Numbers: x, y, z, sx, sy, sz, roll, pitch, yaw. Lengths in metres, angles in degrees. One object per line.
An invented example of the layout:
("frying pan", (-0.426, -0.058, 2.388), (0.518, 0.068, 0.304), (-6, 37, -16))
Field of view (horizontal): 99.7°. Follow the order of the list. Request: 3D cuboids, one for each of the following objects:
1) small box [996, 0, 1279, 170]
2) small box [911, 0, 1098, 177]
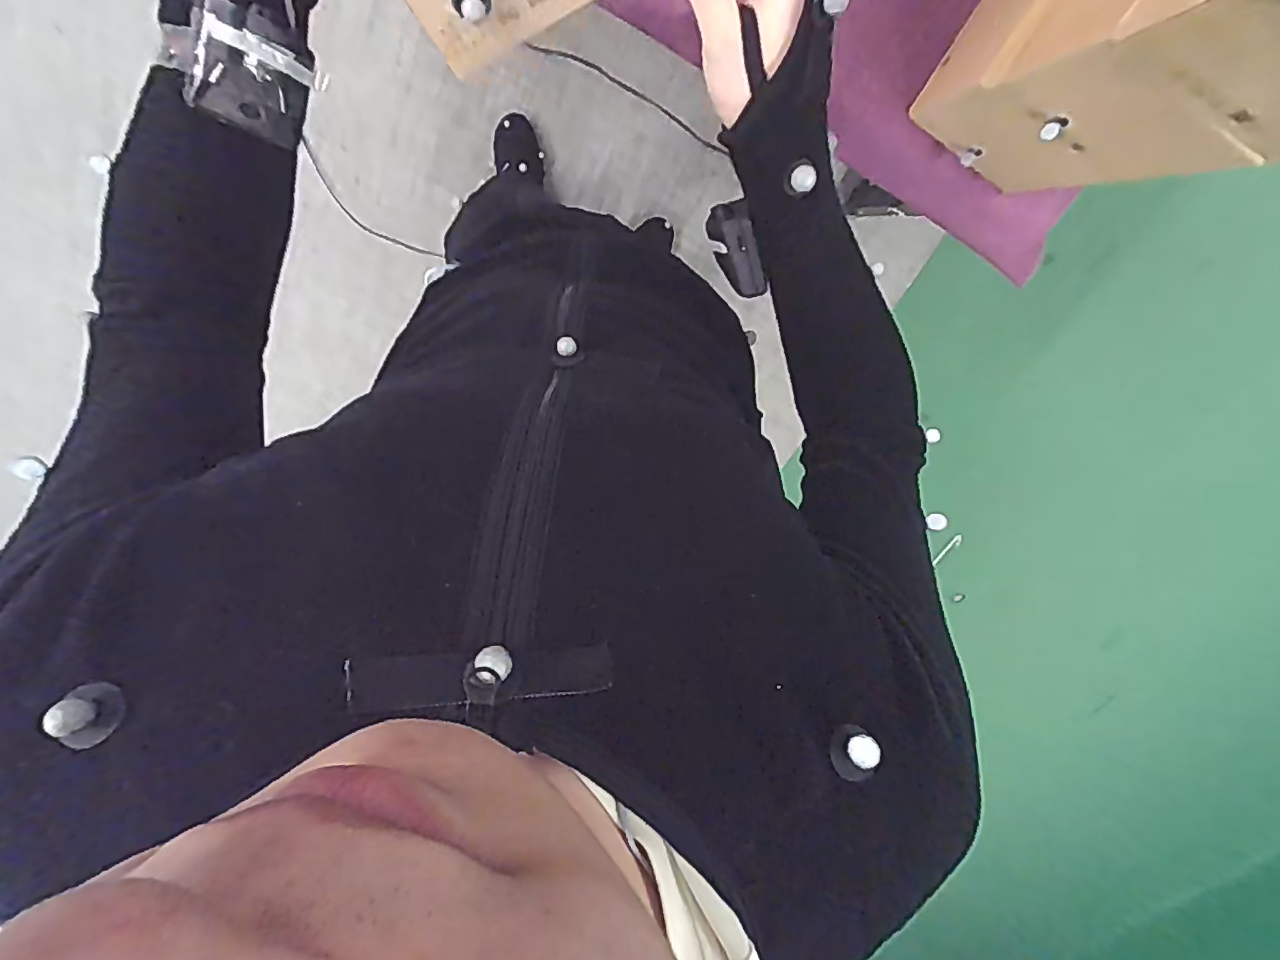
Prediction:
("small box", (0.448, -0.387, 0.441), (0.168, 0.176, 0.179), (28, 113, -11))
("small box", (0.445, -0.457, 0.590), (0.179, 0.176, 0.168), (28, 112, -12))
